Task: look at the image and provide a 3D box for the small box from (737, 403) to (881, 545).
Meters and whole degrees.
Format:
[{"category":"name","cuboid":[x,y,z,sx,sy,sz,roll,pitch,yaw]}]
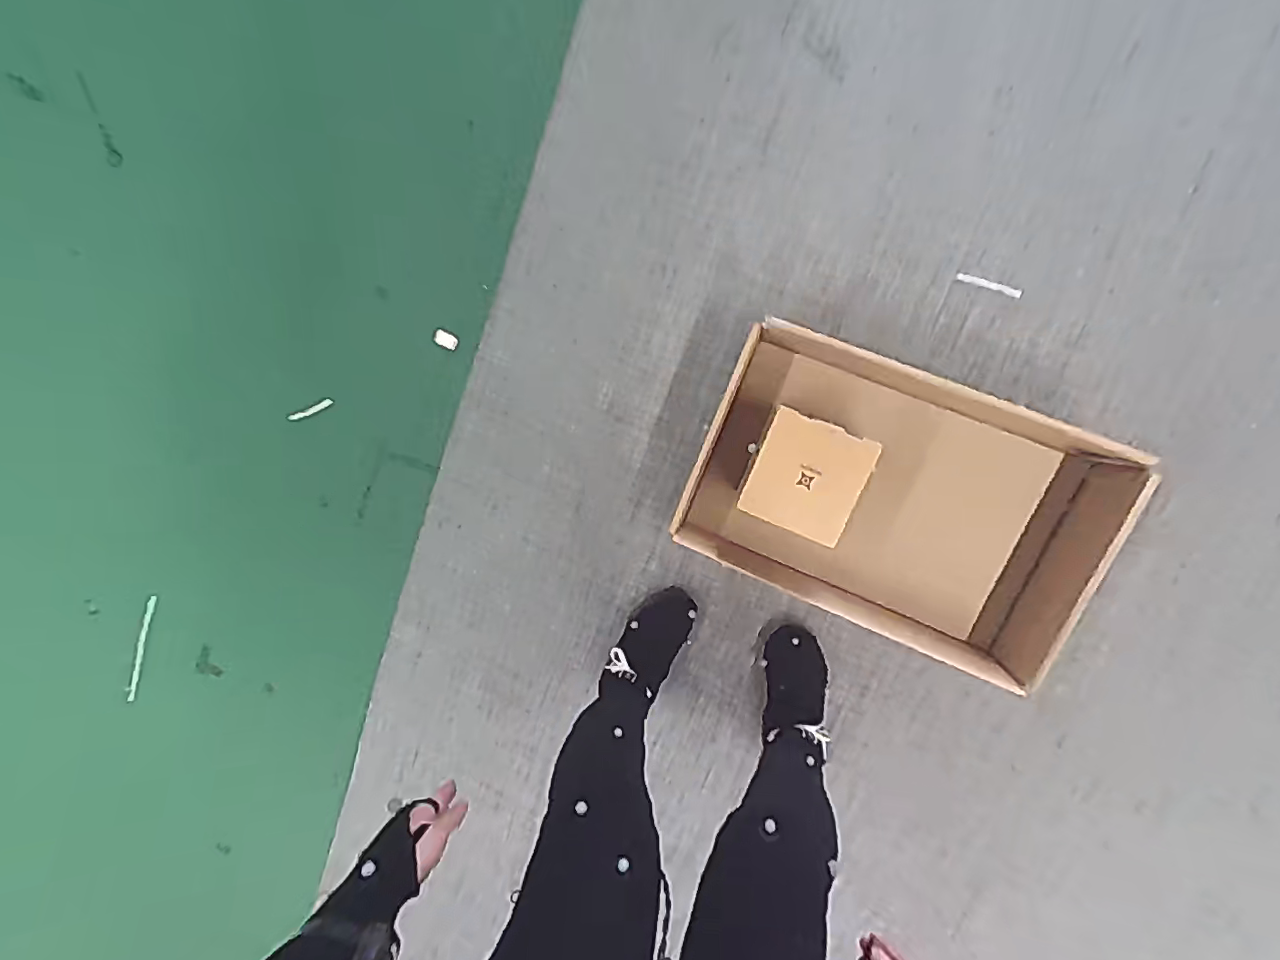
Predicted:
[{"category":"small box","cuboid":[0.275,-0.016,0.912,0.168,0.176,0.179,23,99,8]}]
